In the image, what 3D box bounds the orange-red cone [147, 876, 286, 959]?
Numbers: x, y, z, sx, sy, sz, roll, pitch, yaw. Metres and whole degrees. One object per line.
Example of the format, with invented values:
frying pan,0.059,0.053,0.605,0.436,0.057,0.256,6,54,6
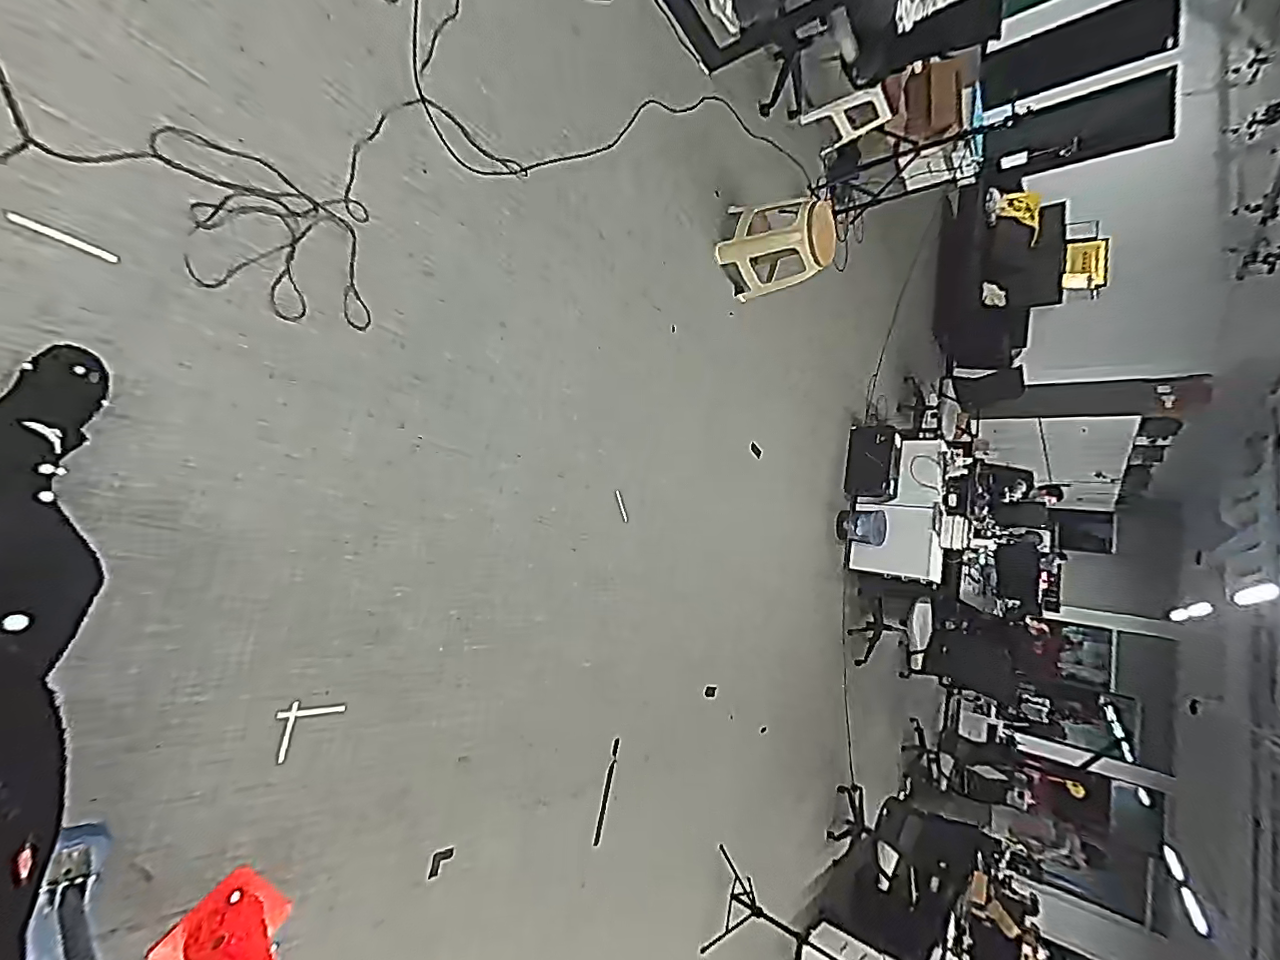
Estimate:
orange-red cone,-0.771,0.996,1.048,0.199,0.360,0.198,-41,122,-40
